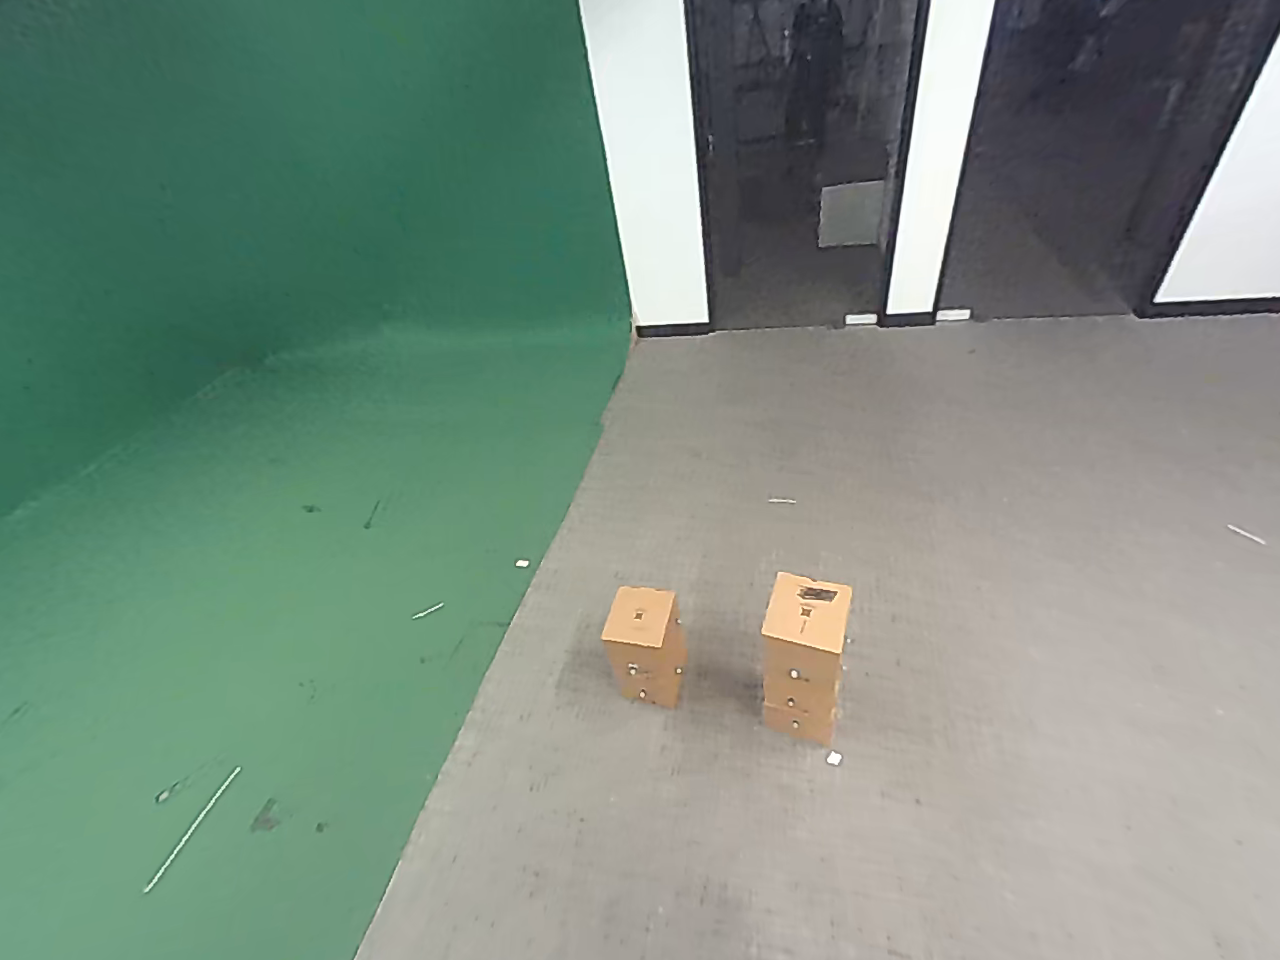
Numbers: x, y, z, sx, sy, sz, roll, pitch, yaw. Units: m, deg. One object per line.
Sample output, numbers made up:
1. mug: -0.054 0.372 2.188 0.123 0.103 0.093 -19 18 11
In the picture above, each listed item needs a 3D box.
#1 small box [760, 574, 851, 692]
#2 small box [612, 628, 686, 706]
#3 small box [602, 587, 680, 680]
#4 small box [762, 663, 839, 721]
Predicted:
1. small box: 0.376 0.349 1.236 0.168 0.176 0.179 10 47 23
2. small box: 0.035 0.541 1.599 0.168 0.176 0.179 6 45 19
3. small box: 0.012 0.421 1.491 0.168 0.176 0.179 2 44 18
4. small box: 0.404 0.465 1.350 0.168 0.176 0.179 9 45 22
